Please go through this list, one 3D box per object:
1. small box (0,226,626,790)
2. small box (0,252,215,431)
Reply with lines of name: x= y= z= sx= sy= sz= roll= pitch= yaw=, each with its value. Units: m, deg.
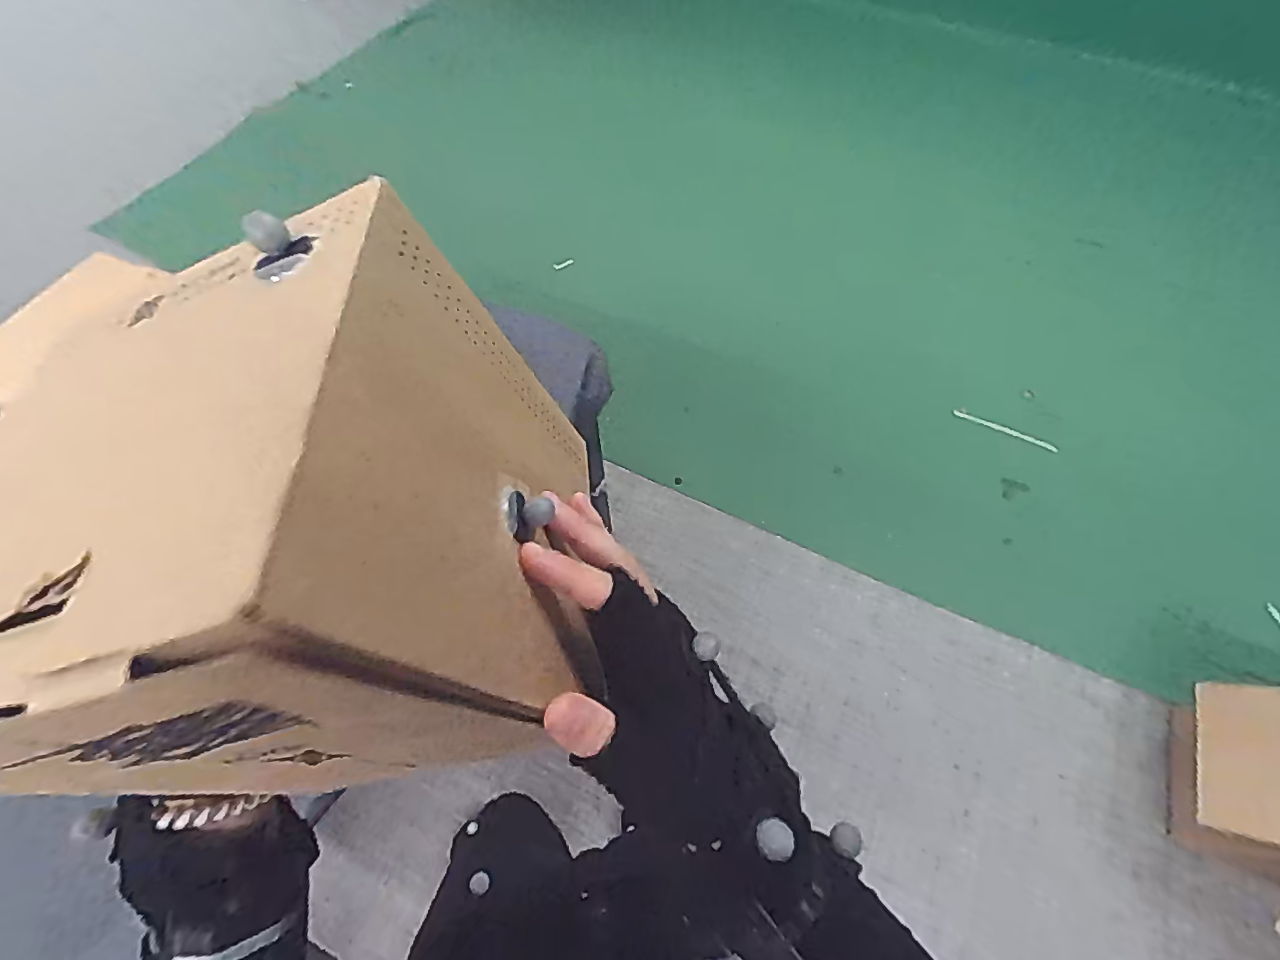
small box: x=-0.119 y=0.021 z=0.236 sx=0.168 sy=0.179 sz=0.176 roll=-17 pitch=55 yaw=12
small box: x=-0.500 y=-0.096 z=0.564 sx=0.168 sy=0.176 sz=0.179 roll=20 pitch=64 yaw=10
